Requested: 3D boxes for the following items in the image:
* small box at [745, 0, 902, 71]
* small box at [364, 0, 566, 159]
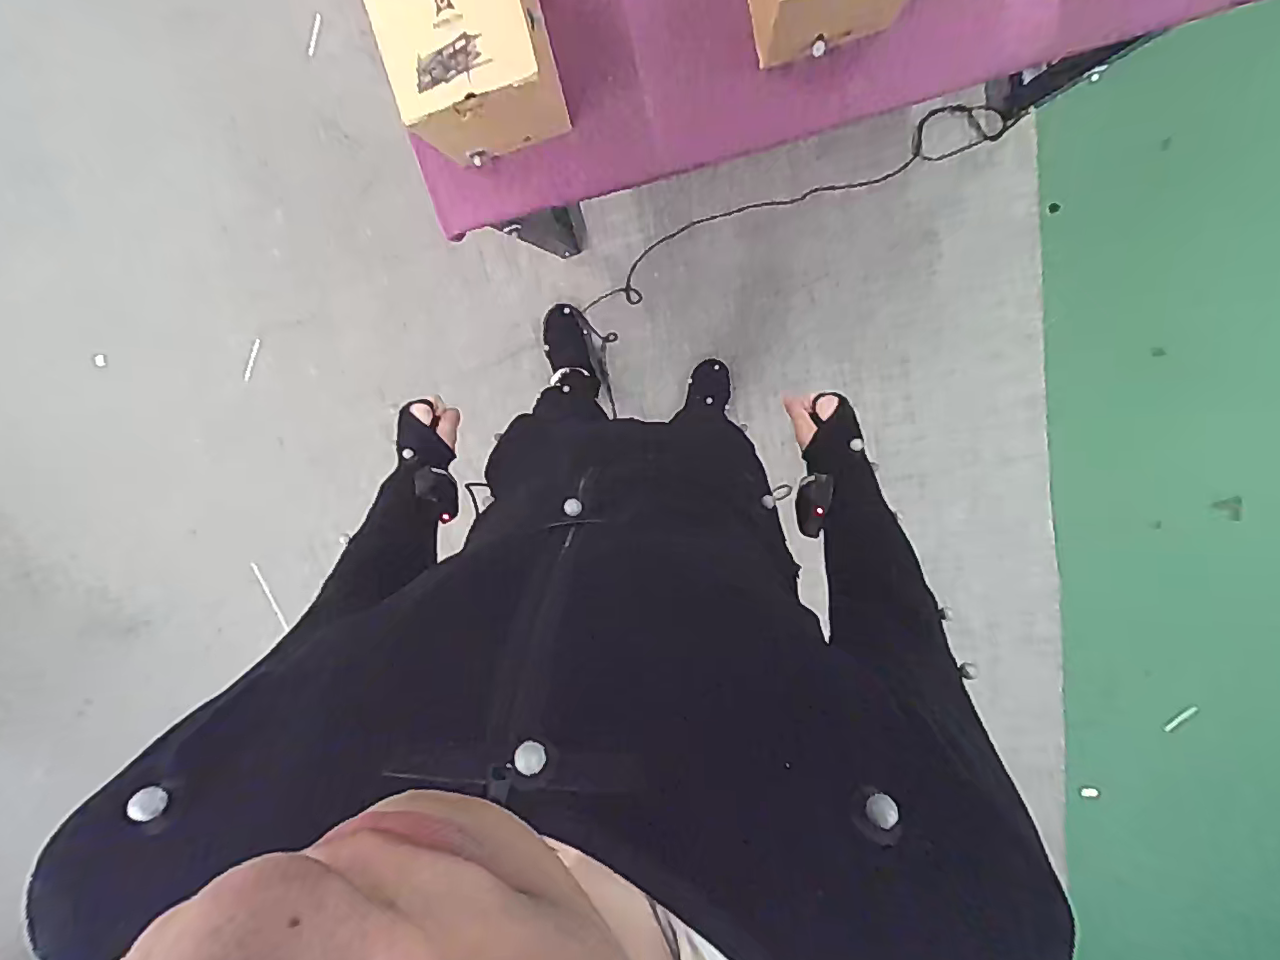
[{"bbox_3d":[0.200,-0.604,0.593,0.168,0.176,0.179,-12,104,11],"label":"small box"},{"bbox_3d":[-0.203,-0.521,0.663,0.168,0.176,0.179,-13,103,10],"label":"small box"}]
